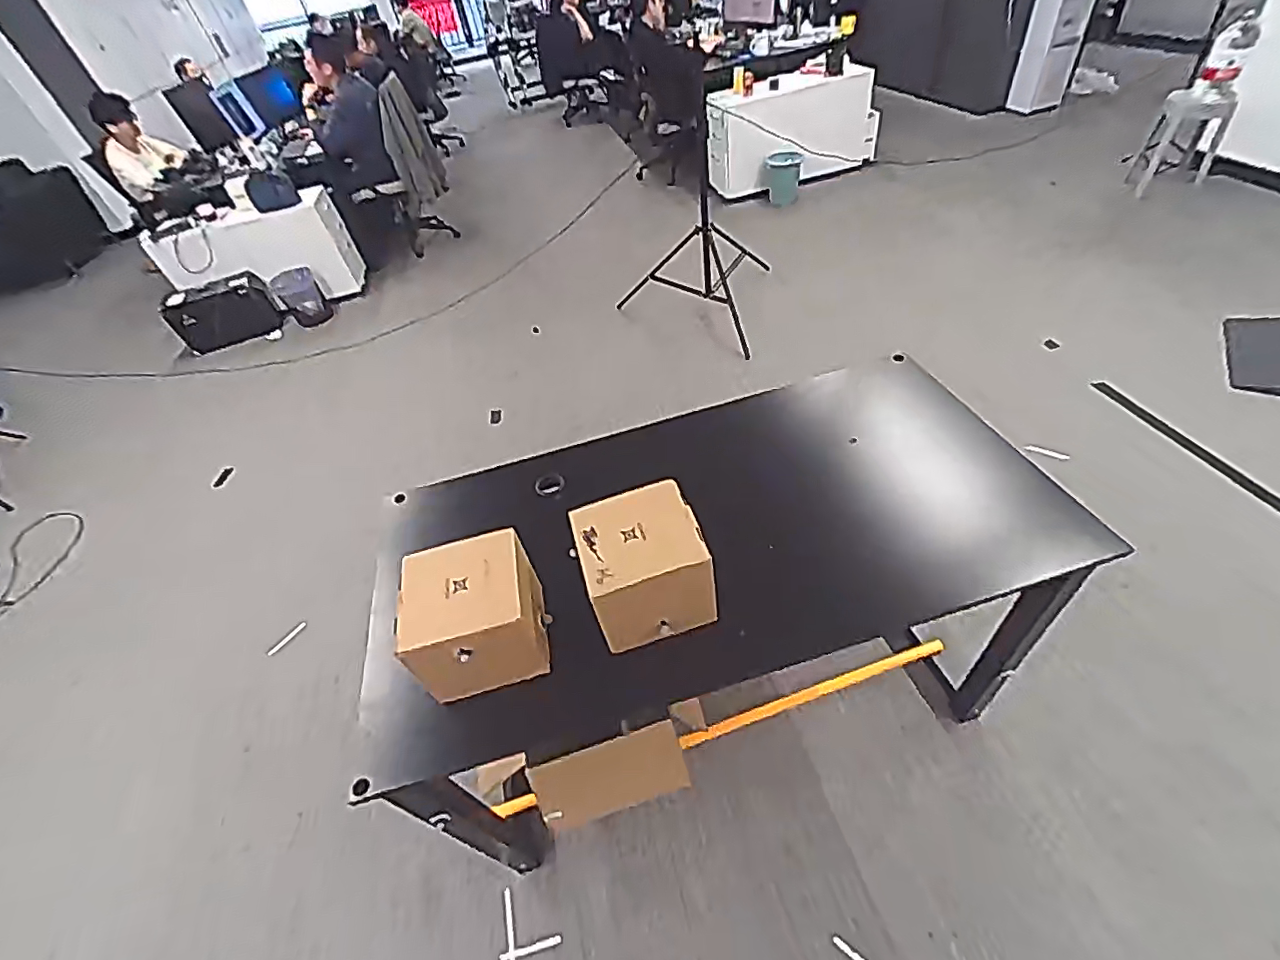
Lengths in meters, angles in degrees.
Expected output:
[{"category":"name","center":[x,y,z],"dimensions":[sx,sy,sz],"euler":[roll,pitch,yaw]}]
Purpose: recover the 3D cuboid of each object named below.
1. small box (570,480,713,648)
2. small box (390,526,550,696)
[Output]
[{"category":"small box","center":[0.004,0.132,0.837],"dimensions":[0.179,0.176,0.168],"euler":[-16,45,-6]},{"category":"small box","center":[-0.249,0.202,0.820],"dimensions":[0.179,0.176,0.168],"euler":[-15,47,-5]}]
